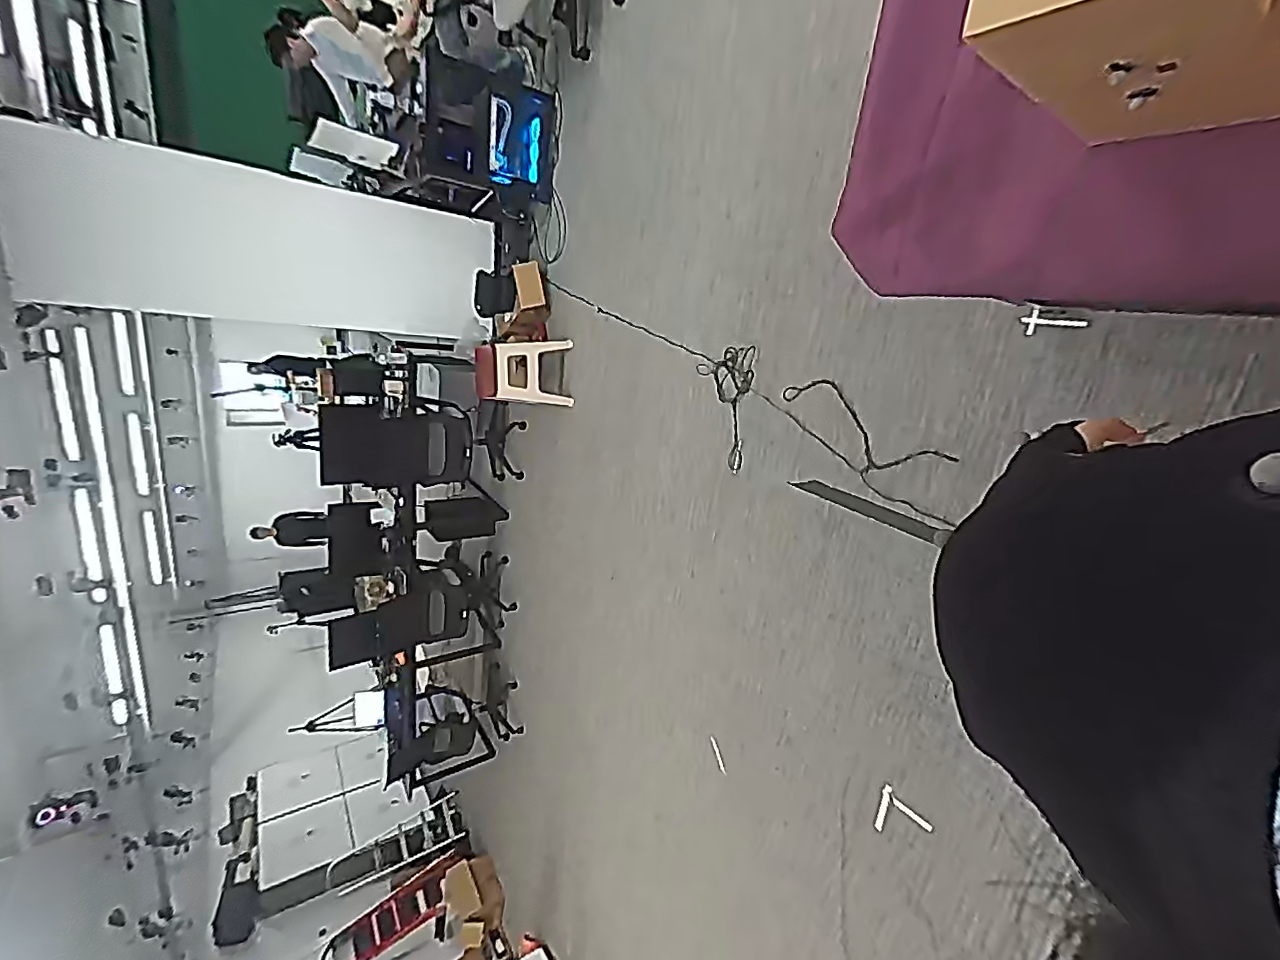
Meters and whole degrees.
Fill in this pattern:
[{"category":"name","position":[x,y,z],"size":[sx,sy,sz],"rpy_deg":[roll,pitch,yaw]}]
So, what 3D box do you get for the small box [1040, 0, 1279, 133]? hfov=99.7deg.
[{"category":"small box","position":[0.522,-0.445,0.496],"size":[0.179,0.176,0.168],"rpy_deg":[28,117,50]}]
